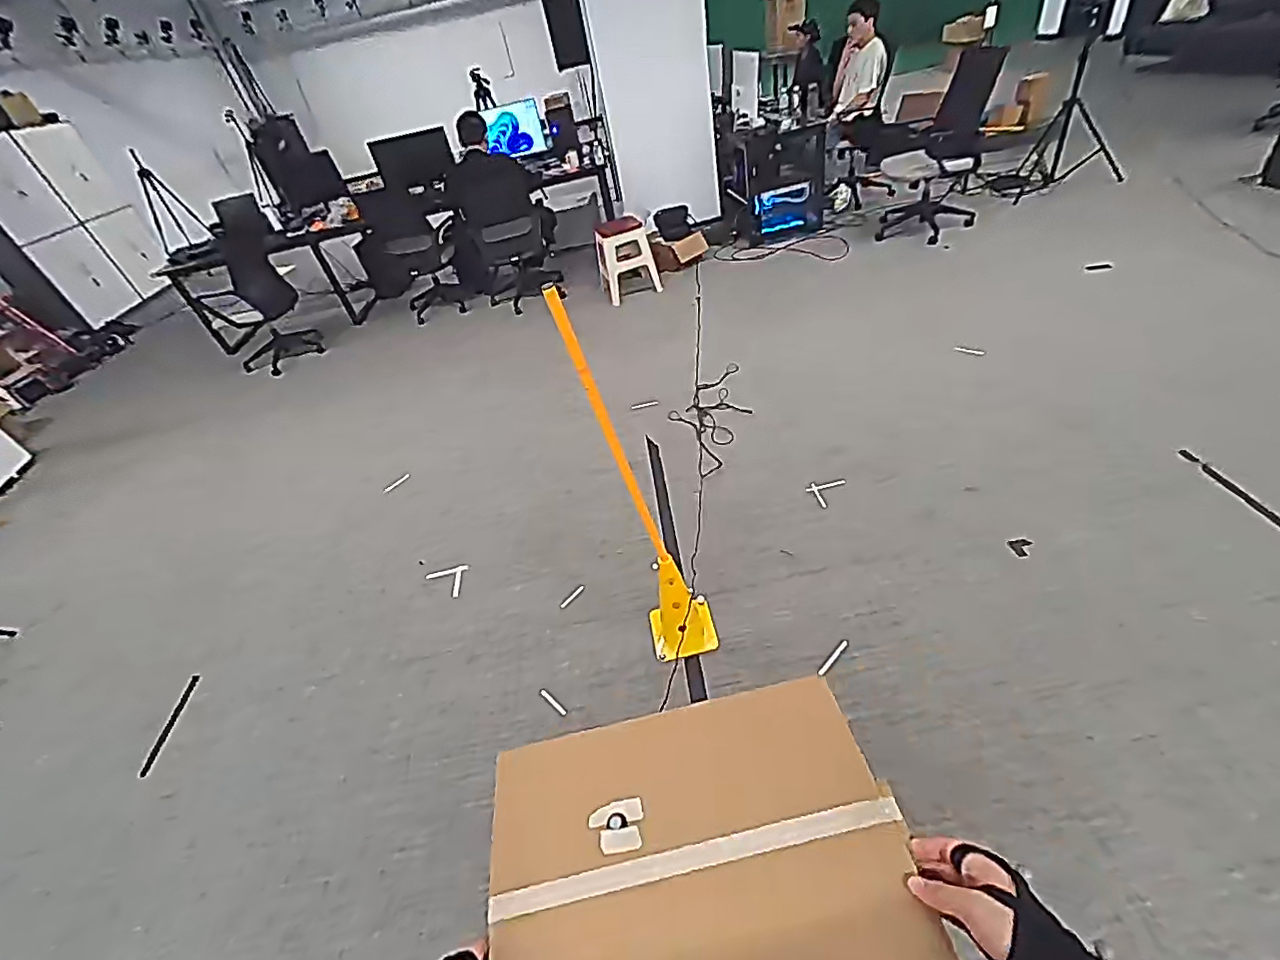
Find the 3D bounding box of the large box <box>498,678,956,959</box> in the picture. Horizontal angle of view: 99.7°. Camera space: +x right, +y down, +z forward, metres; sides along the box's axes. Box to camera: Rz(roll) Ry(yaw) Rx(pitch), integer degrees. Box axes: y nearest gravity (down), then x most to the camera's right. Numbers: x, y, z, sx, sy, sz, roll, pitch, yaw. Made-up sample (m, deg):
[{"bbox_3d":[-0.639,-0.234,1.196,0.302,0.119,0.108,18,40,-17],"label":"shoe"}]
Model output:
[{"bbox_3d":[0.084,0.494,0.629,0.408,0.320,0.320,-15,37,0],"label":"large box"}]
